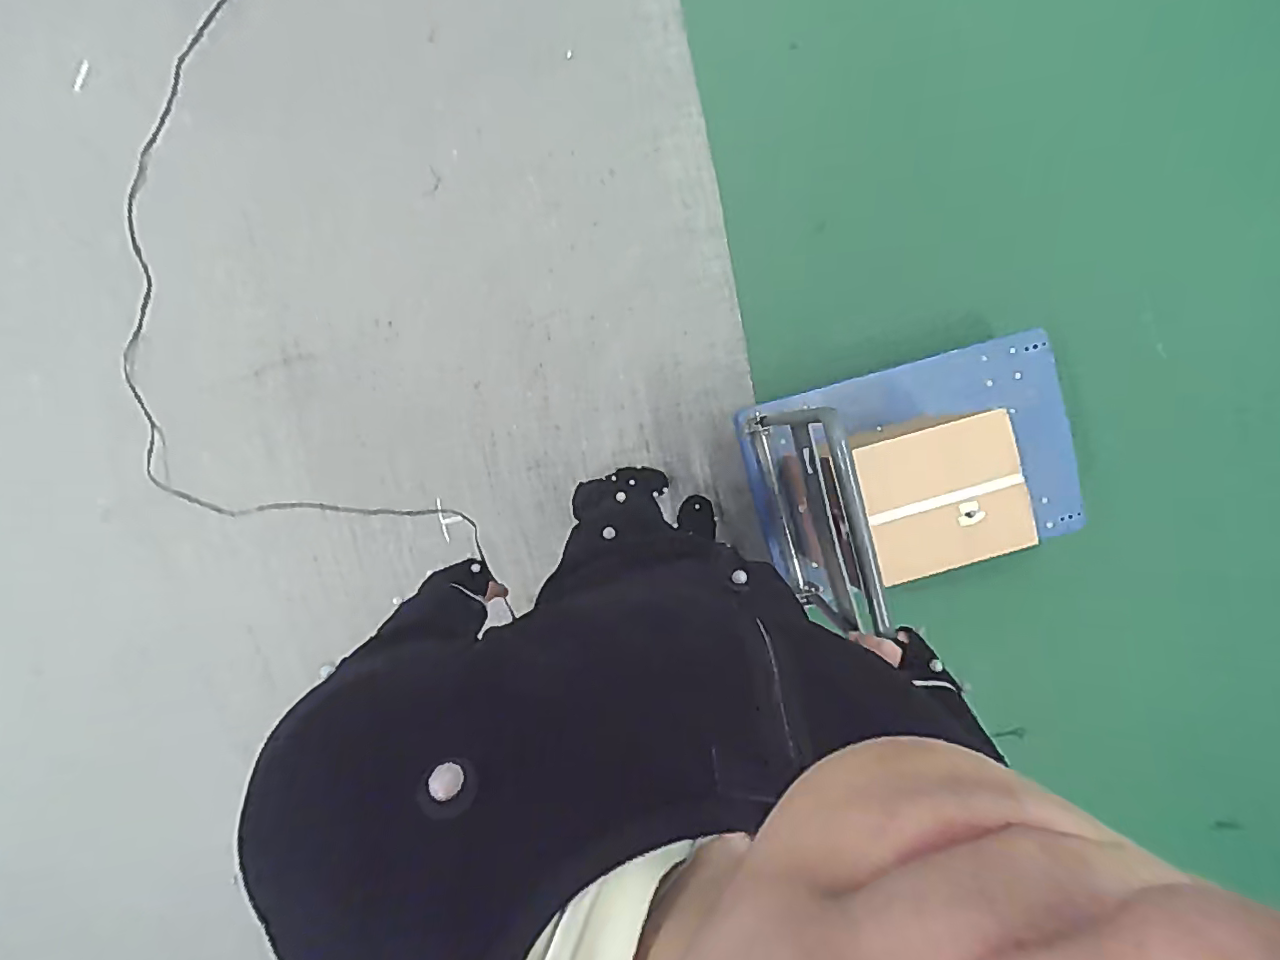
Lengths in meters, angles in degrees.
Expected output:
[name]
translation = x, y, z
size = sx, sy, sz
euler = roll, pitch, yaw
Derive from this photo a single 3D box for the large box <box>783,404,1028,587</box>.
[large box]
translation = 0.620, 0.029, 1.325
size = 0.408, 0.320, 0.320
euler = -16, 94, -1
